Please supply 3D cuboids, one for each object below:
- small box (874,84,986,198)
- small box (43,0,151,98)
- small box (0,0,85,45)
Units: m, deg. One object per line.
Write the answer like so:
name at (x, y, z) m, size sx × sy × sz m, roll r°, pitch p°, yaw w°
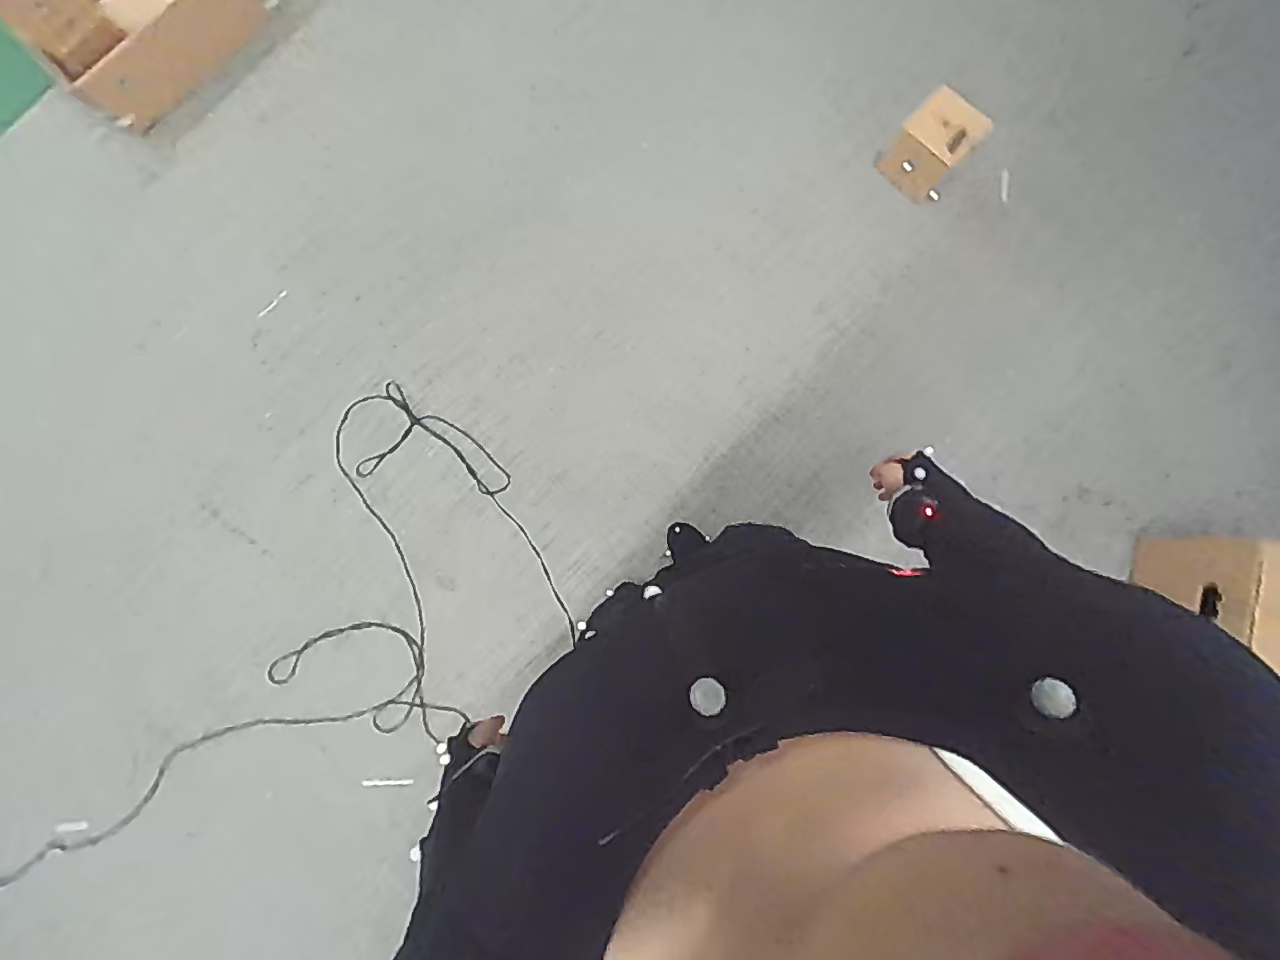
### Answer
small box at (0.786, -0.914, 1.484) m, size 0.179 × 0.176 × 0.168 m, roll 45°, pitch 88°, yaw 4°
small box at (-1.536, -1.220, 1.496) m, size 0.179 × 0.176 × 0.168 m, roll 42°, pitch 88°, yaw 2°
small box at (-1.554, -1.231, 1.333) m, size 0.168 × 0.176 × 0.179 m, roll -43°, pitch 87°, yaw -2°
